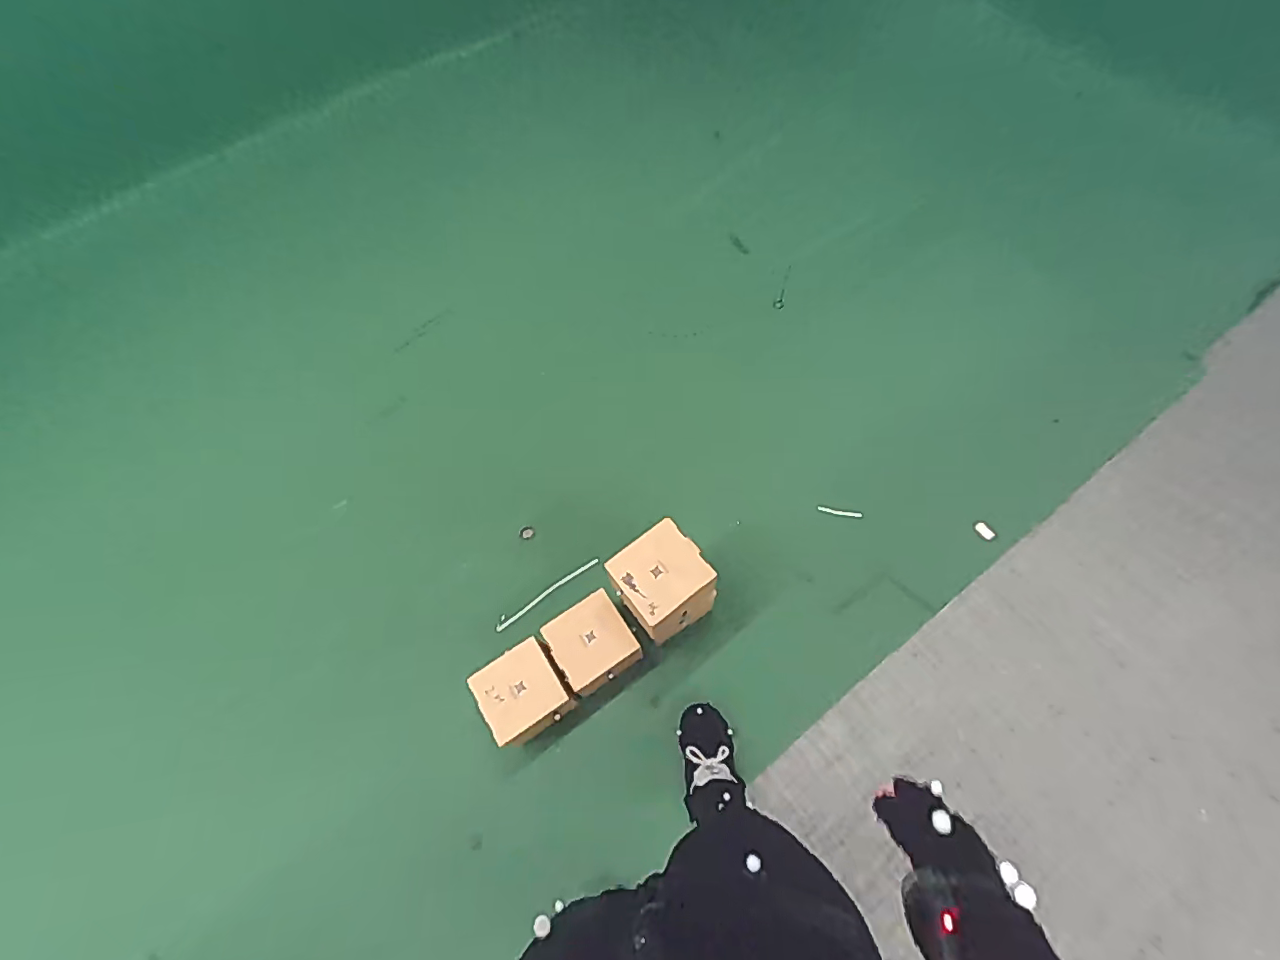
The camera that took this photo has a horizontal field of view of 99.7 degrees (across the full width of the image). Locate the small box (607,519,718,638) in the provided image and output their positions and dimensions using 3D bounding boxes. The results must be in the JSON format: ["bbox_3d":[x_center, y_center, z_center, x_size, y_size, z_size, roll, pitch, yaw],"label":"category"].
[{"bbox_3d":[0.047,0.220,1.188,0.179,0.176,0.168,-35,68,-13],"label":"small box"}]
